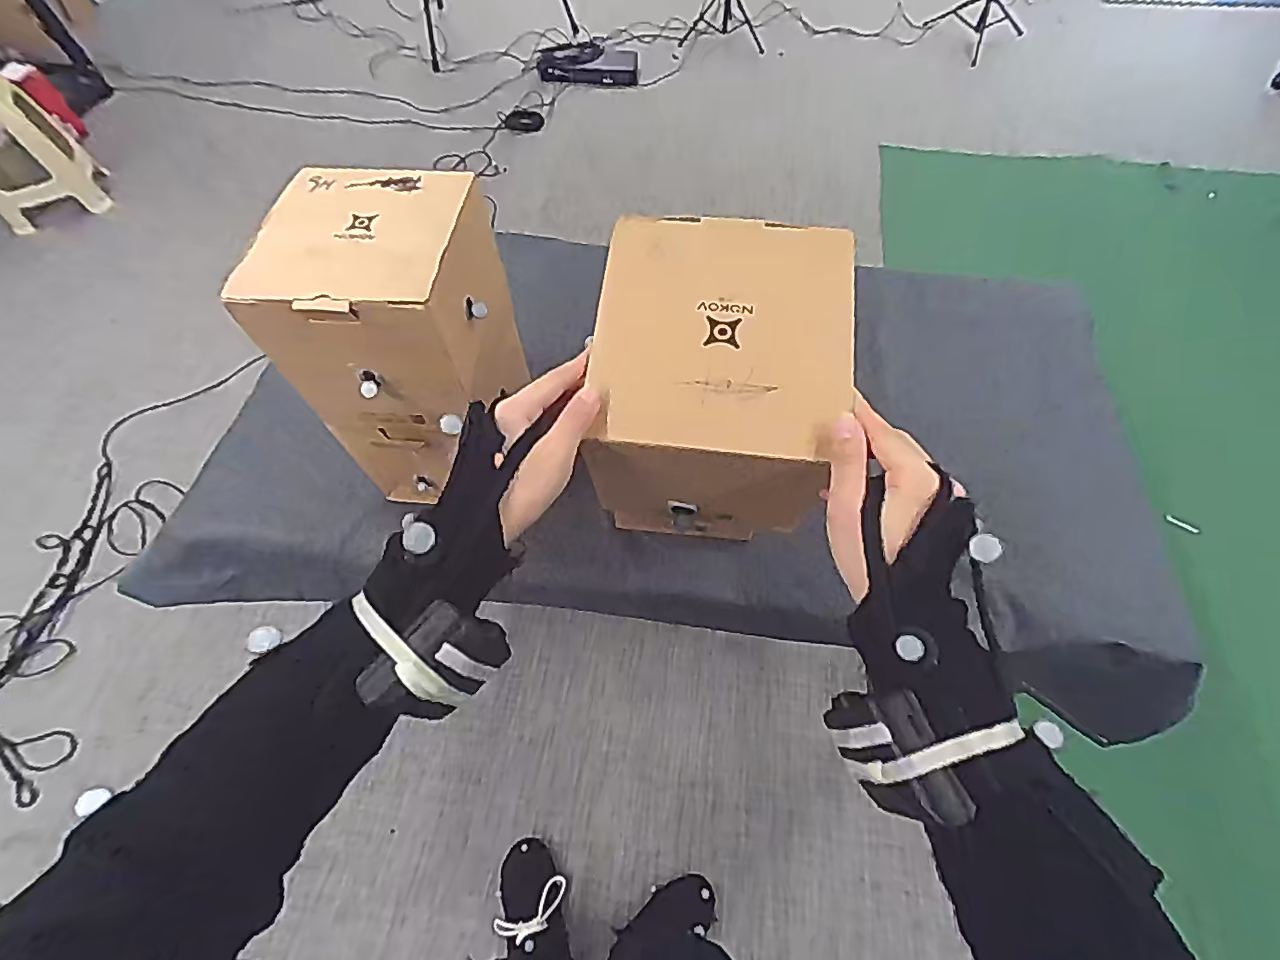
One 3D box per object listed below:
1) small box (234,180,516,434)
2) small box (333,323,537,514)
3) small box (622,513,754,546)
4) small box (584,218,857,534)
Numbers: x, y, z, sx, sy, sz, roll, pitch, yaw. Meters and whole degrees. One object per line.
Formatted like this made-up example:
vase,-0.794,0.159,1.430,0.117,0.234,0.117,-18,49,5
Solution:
small box,-0.229,-0.160,0.526,0.168,0.176,0.179,3,60,3
small box,-0.231,-0.078,0.668,0.168,0.176,0.179,4,59,3
small box,0.065,-0.043,0.636,0.168,0.176,0.179,5,58,5
small box,0.060,-0.070,0.427,0.168,0.176,0.179,6,70,5
